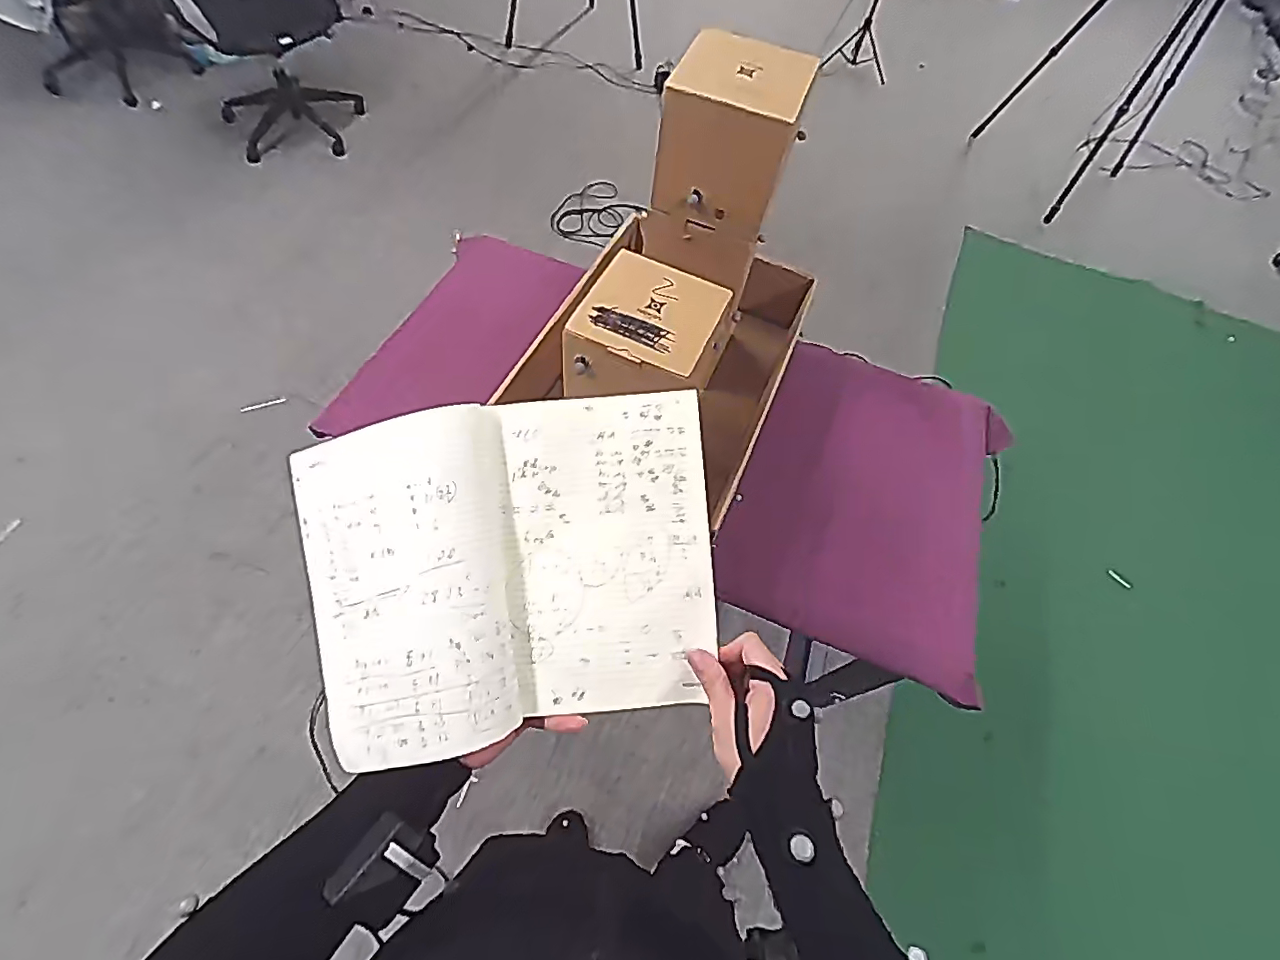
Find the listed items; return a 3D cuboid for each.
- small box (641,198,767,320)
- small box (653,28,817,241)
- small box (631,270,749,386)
[{"bbox_3d":[0.107,-0.400,0.899,0.168,0.176,0.179,21,61,5],"label":"small box"},{"bbox_3d":[0.124,-0.476,0.756,0.168,0.176,0.179,21,62,5],"label":"small box"},{"bbox_3d":[0.089,-0.315,1.038,0.168,0.176,0.179,21,62,5],"label":"small box"}]
